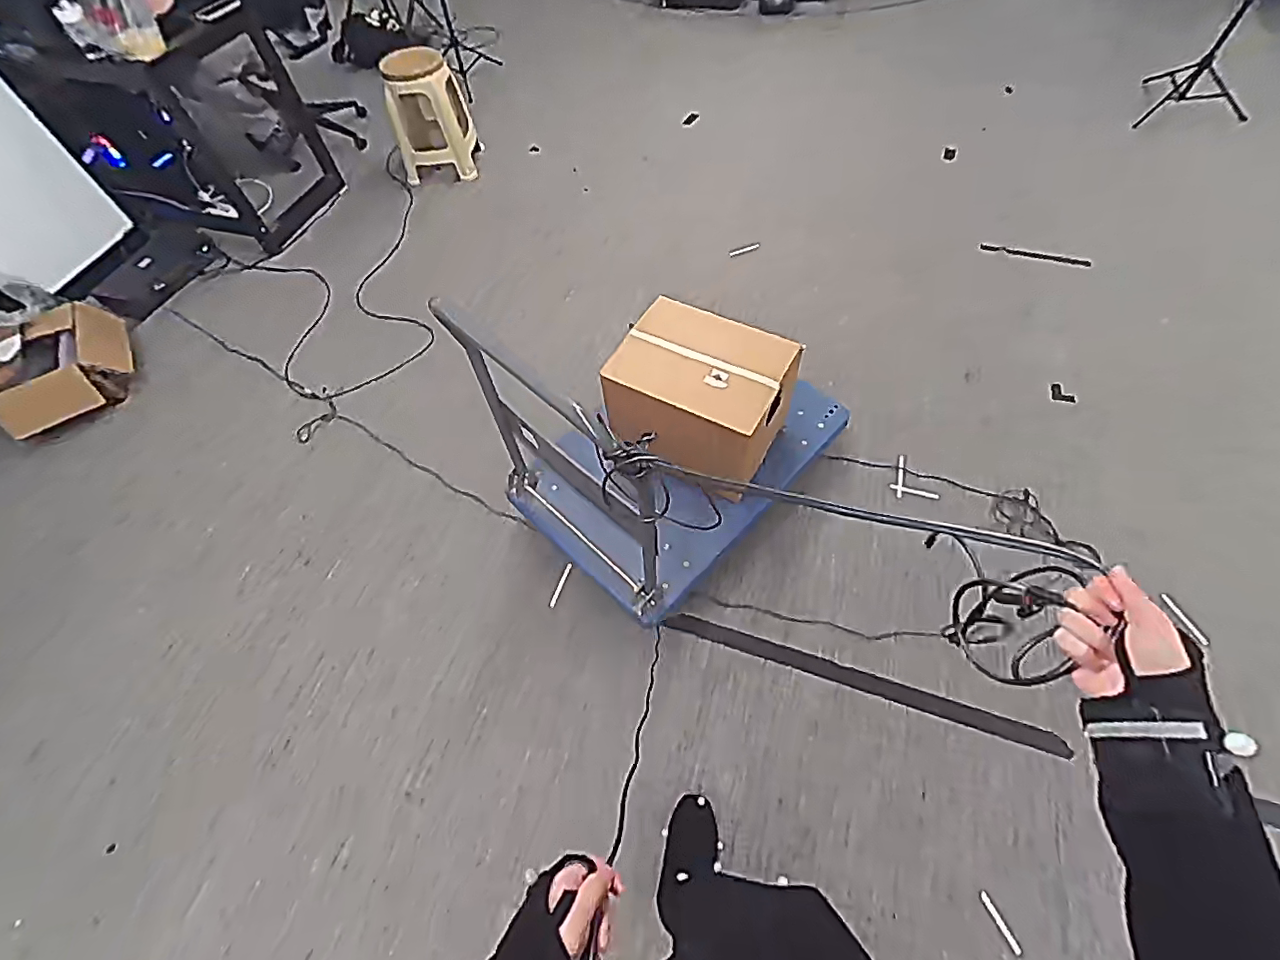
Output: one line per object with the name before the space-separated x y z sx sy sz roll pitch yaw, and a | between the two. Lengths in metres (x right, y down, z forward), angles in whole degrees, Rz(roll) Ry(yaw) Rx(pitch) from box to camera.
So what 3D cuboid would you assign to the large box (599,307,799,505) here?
large box | 0.150 -0.194 1.438 0.408 0.320 0.320 25 64 17
